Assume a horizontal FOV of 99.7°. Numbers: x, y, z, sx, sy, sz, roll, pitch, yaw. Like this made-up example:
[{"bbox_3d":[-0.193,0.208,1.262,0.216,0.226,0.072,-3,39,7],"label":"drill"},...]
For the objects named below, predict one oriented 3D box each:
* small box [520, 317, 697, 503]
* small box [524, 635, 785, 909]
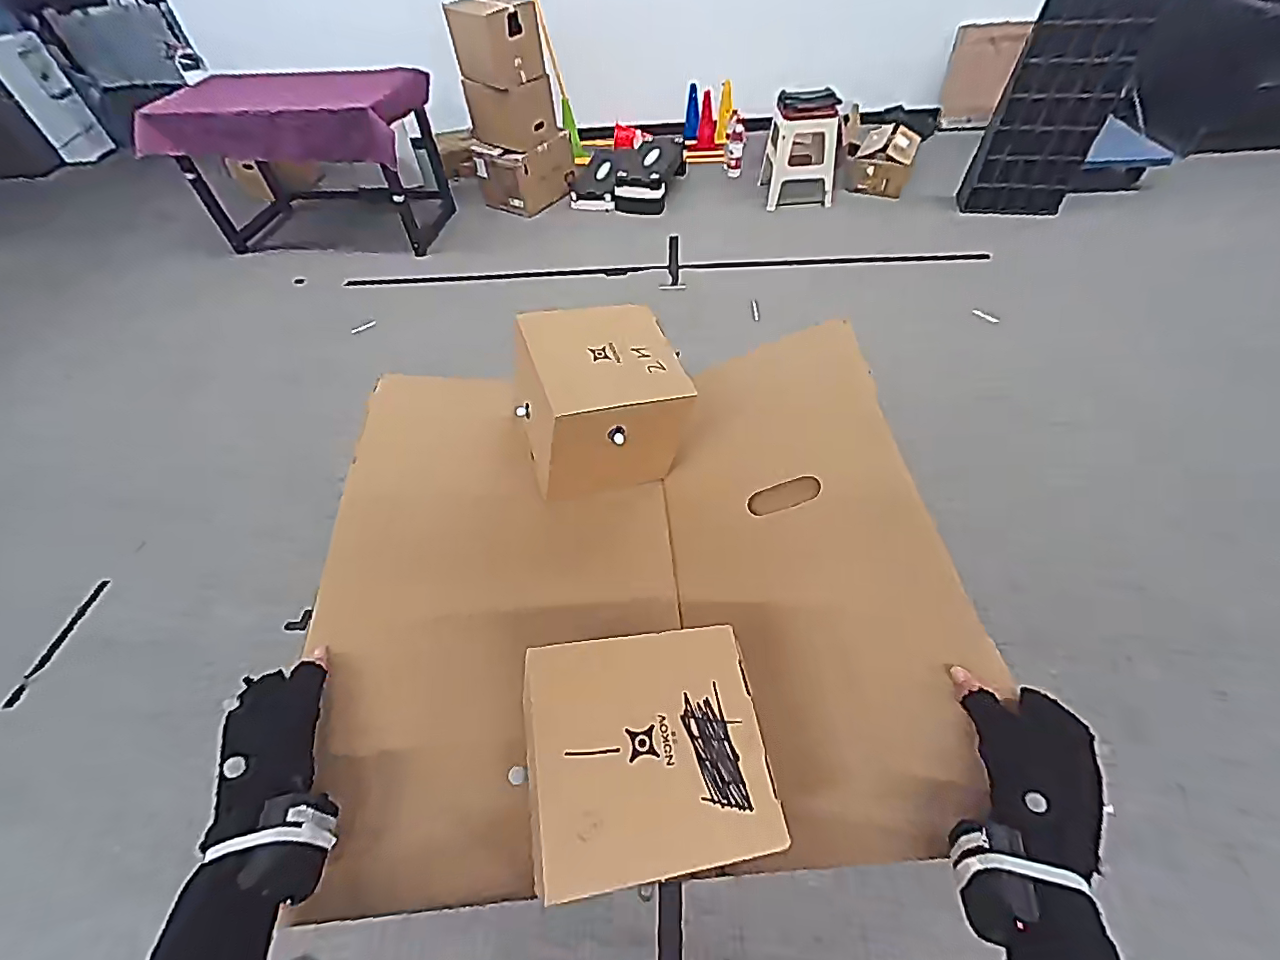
[{"bbox_3d":[-0.053,-0.088,0.700,0.179,0.176,0.168,-10,58,-21],"label":"small box"},{"bbox_3d":[-0.007,0.248,0.471,0.179,0.176,0.168,-2,56,-14],"label":"small box"}]
